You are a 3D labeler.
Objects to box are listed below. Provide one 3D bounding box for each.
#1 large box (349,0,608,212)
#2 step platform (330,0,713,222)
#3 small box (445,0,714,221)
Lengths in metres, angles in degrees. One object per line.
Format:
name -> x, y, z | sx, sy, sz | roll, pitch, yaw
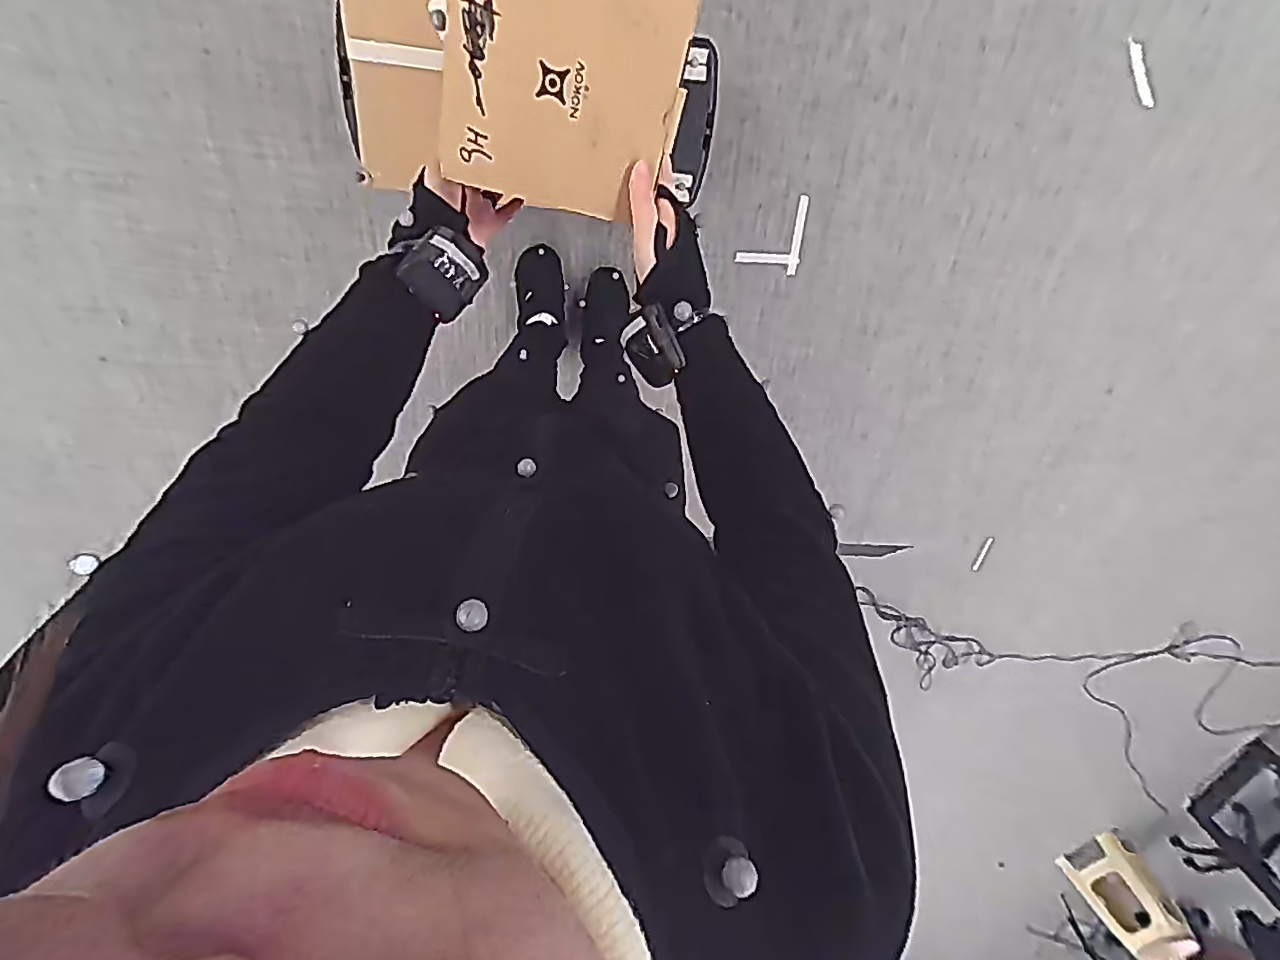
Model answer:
large box -> -0.171, -0.609, 0.829 | 0.408, 0.320, 0.320 | 4, 119, -6
step platform -> -0.207, -0.716, 1.040 | 0.684, 0.204, 0.286 | 8, 119, -9
small box -> -0.057, -0.342, 0.458 | 0.179, 0.176, 0.168 | 8, 124, -13
